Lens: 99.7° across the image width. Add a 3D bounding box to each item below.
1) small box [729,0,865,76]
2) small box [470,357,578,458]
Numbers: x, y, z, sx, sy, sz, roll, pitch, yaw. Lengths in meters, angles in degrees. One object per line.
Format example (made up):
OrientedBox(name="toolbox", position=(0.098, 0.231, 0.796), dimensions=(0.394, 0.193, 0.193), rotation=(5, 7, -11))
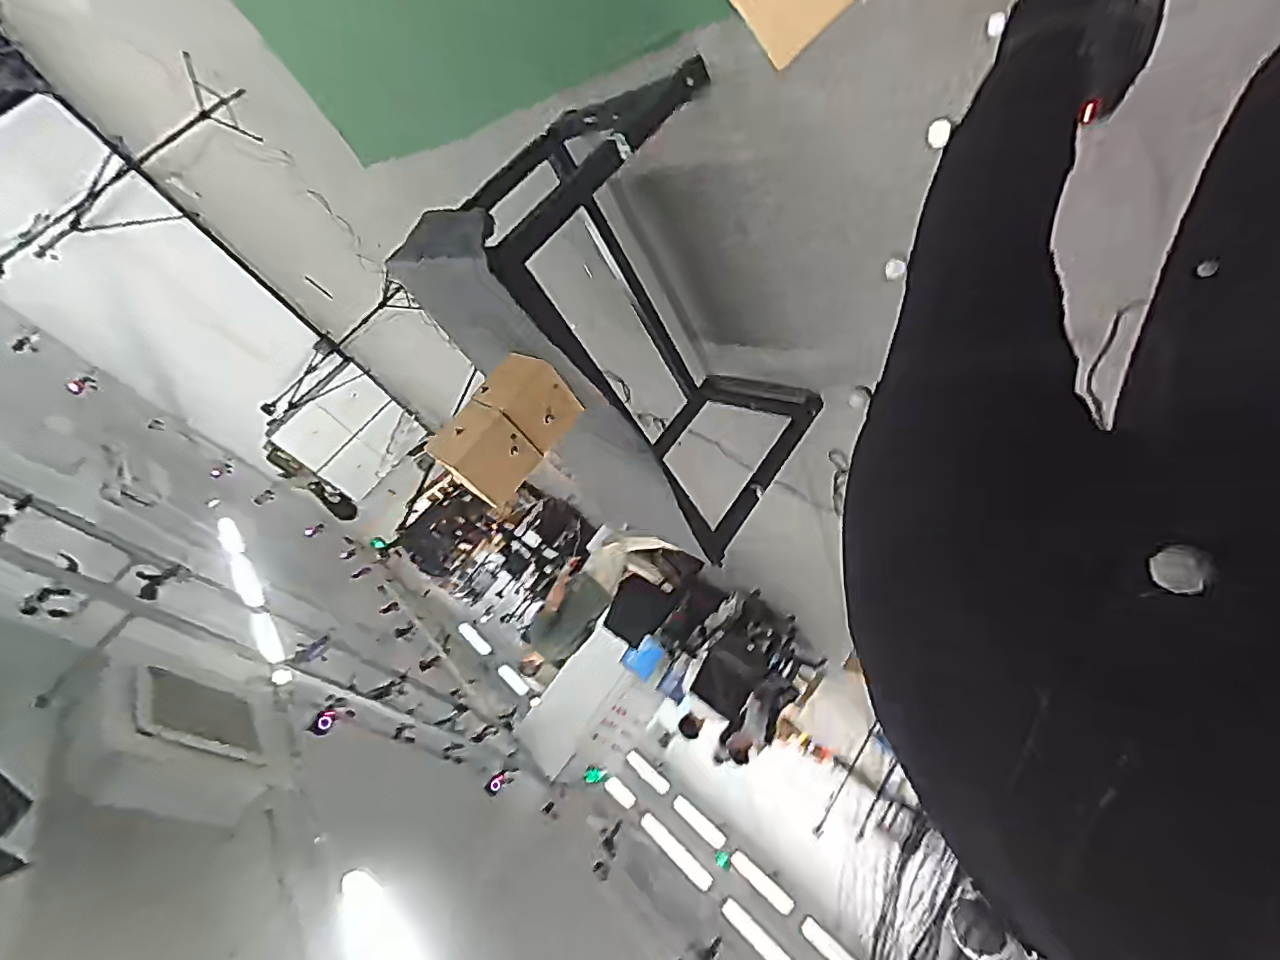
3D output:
OrientedBox(name="small box", position=(0.205, -0.612, 0.588), dimensions=(0.168, 0.176, 0.179), rotation=(43, 164, -20))
OrientedBox(name="small box", position=(-0.279, -0.184, 1.340), dimensions=(0.179, 0.176, 0.168), rotation=(24, 159, 45))
